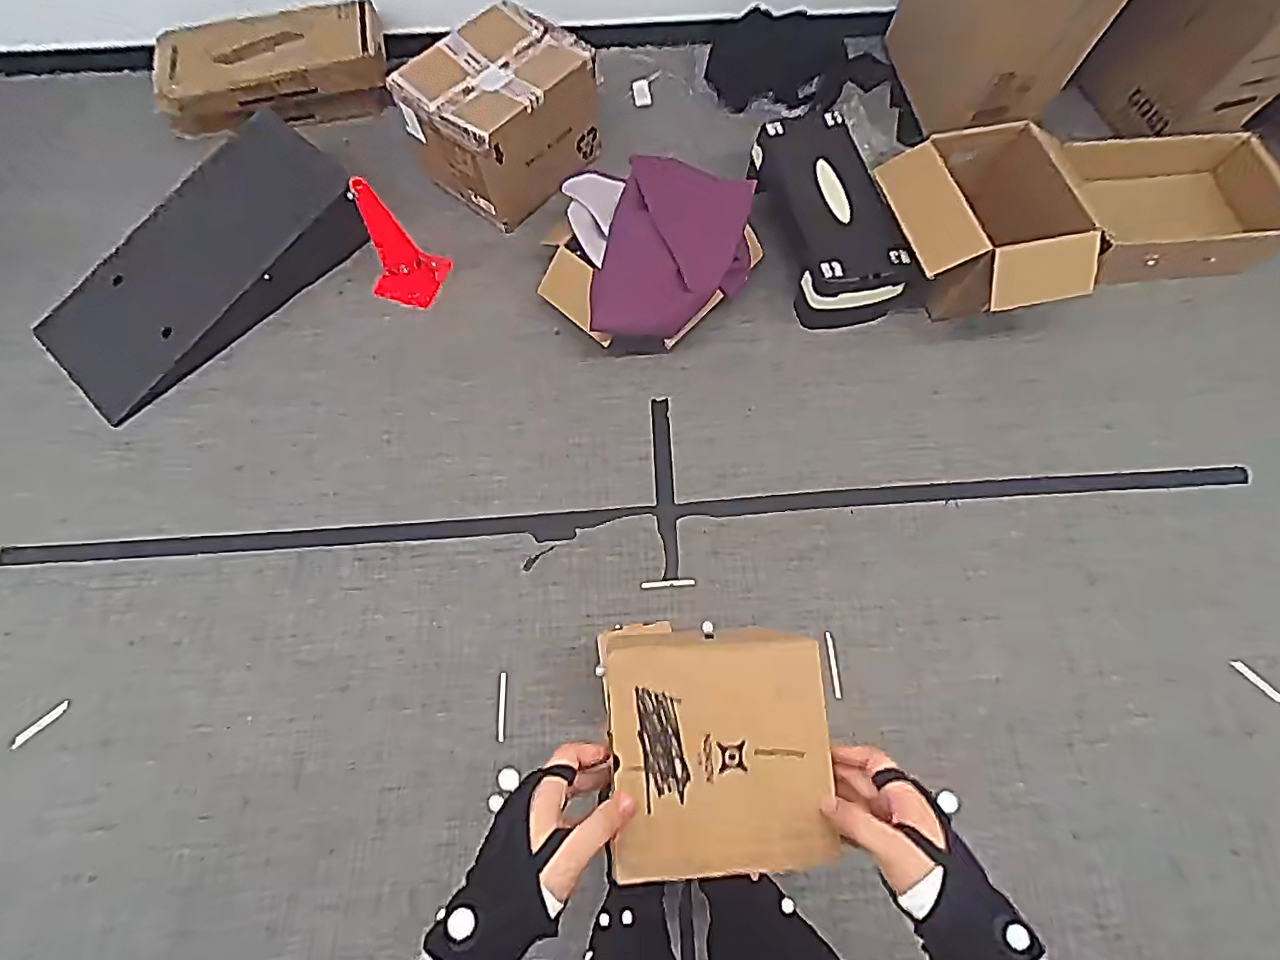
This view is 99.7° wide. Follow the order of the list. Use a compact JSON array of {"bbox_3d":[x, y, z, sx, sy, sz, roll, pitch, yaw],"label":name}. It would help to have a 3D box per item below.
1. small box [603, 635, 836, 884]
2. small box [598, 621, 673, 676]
[{"bbox_3d":[0.058,0.236,0.500,0.179,0.176,0.168,-1,79,-3],"label":"small box"},{"bbox_3d":[0.000,0.428,1.228,0.168,0.176,0.179,-10,71,-2],"label":"small box"}]
